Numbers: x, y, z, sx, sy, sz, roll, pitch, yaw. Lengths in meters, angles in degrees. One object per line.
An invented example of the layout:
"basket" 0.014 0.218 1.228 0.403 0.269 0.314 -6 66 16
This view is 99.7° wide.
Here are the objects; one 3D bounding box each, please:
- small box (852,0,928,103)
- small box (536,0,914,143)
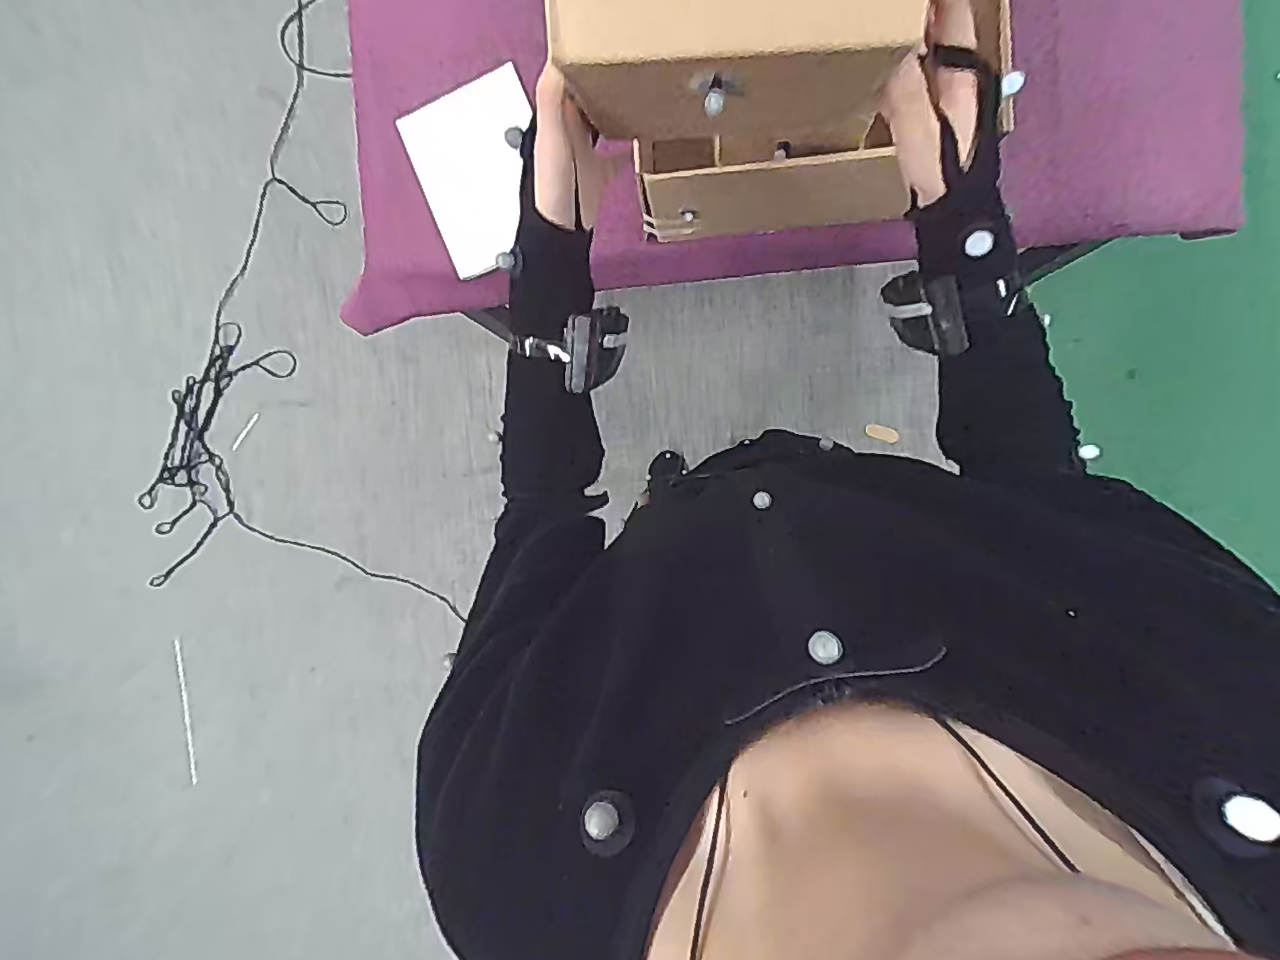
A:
"small box" 0.180 -0.474 0.466 0.168 0.176 0.179 18 92 7
"small box" 0.047 -0.302 0.303 0.179 0.176 0.168 2 112 6
